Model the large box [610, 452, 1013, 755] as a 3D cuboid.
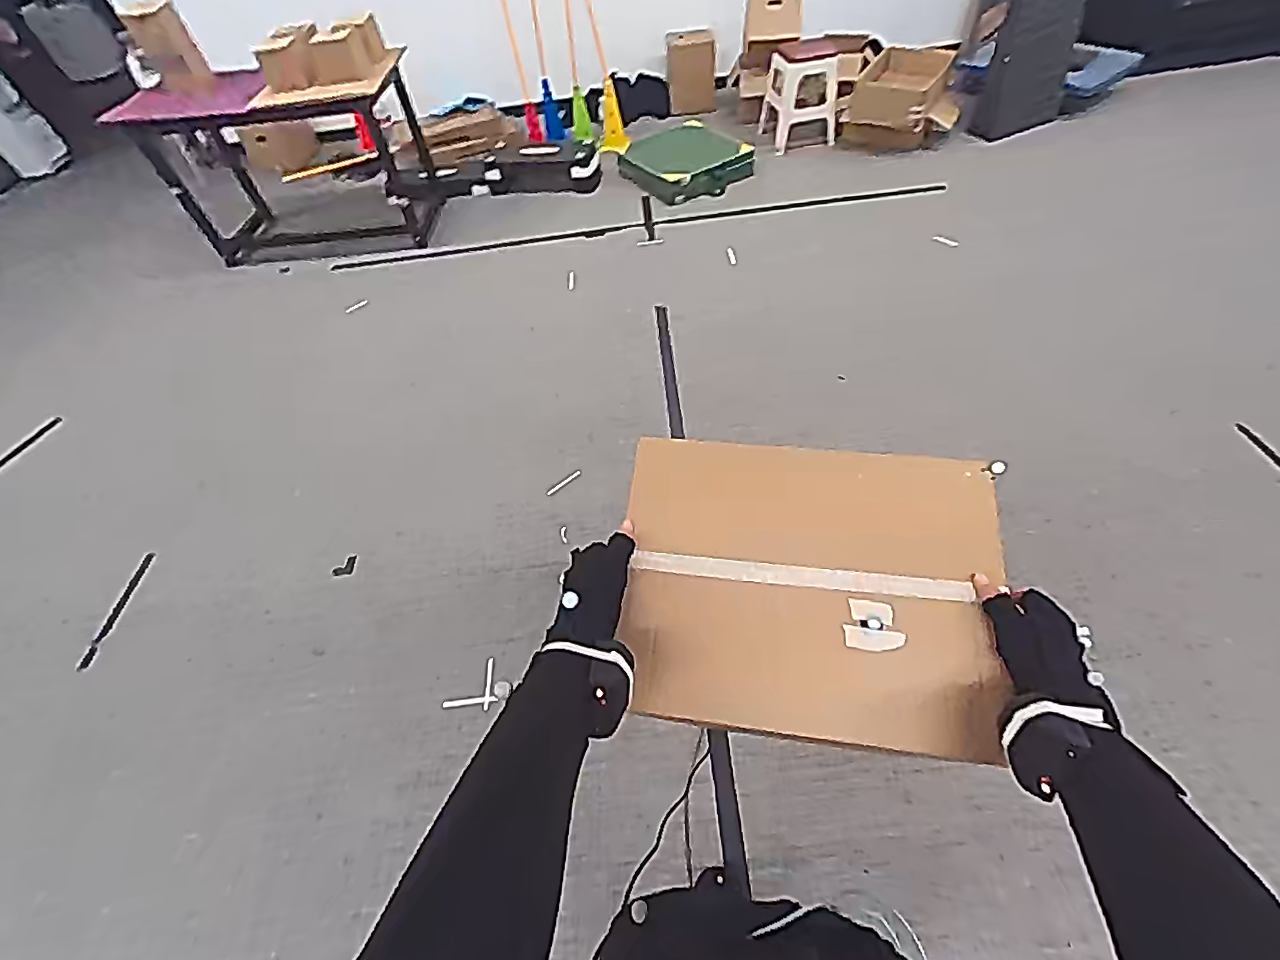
[{"bbox_3d":[0.189,0.176,0.735,0.408,0.320,0.320,4,66,7],"label":"large box"}]
